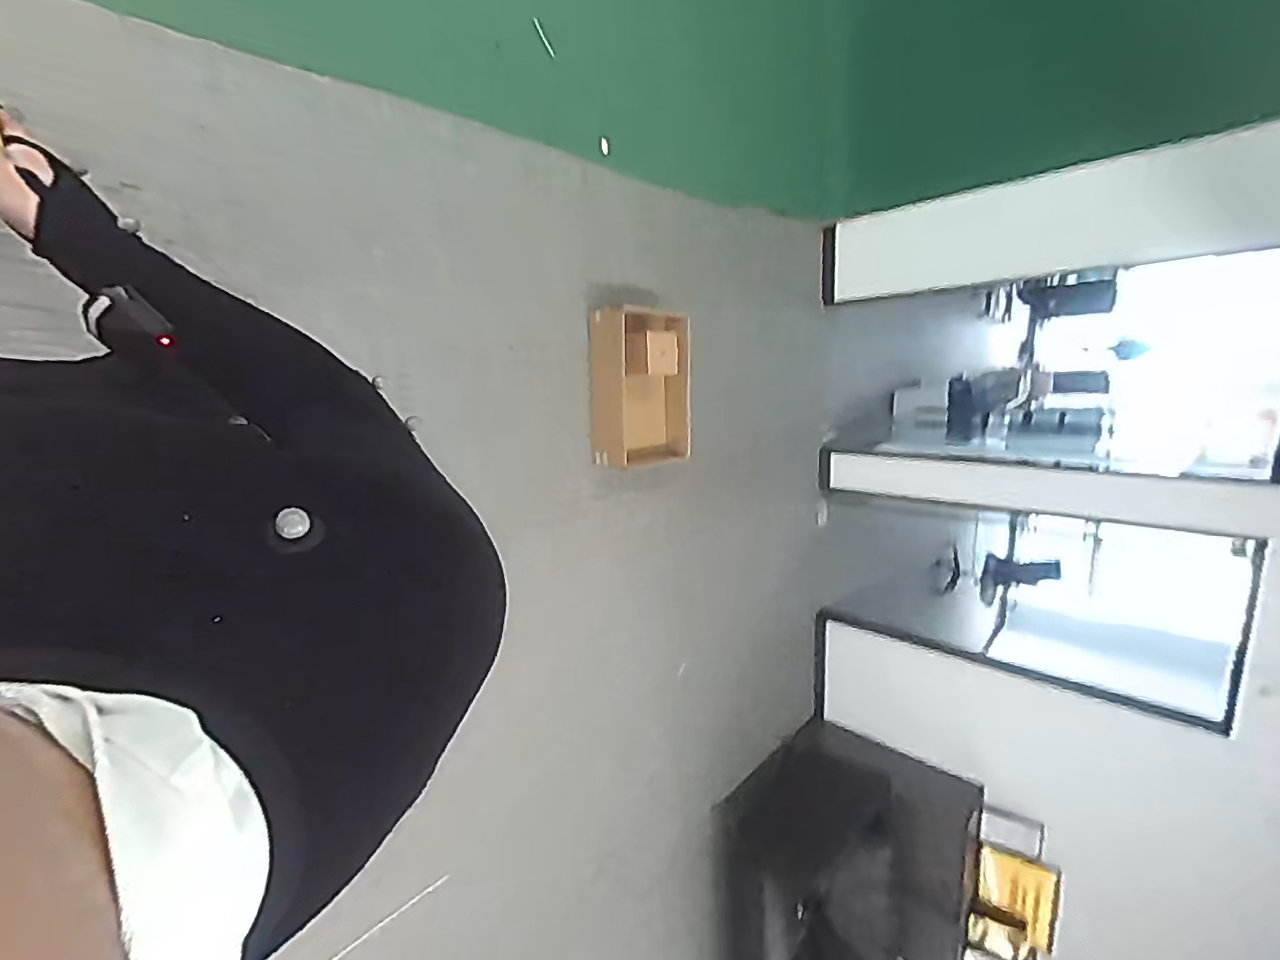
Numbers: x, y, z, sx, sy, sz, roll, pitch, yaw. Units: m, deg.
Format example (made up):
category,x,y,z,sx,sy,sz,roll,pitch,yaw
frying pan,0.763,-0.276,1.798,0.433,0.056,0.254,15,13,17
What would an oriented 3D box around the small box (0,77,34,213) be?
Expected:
category,x,y,z,sx,sy,sz,roll,pitch,yaw
small box,-0.645,-0.339,0.443,0.168,0.176,0.179,-17,110,-42
